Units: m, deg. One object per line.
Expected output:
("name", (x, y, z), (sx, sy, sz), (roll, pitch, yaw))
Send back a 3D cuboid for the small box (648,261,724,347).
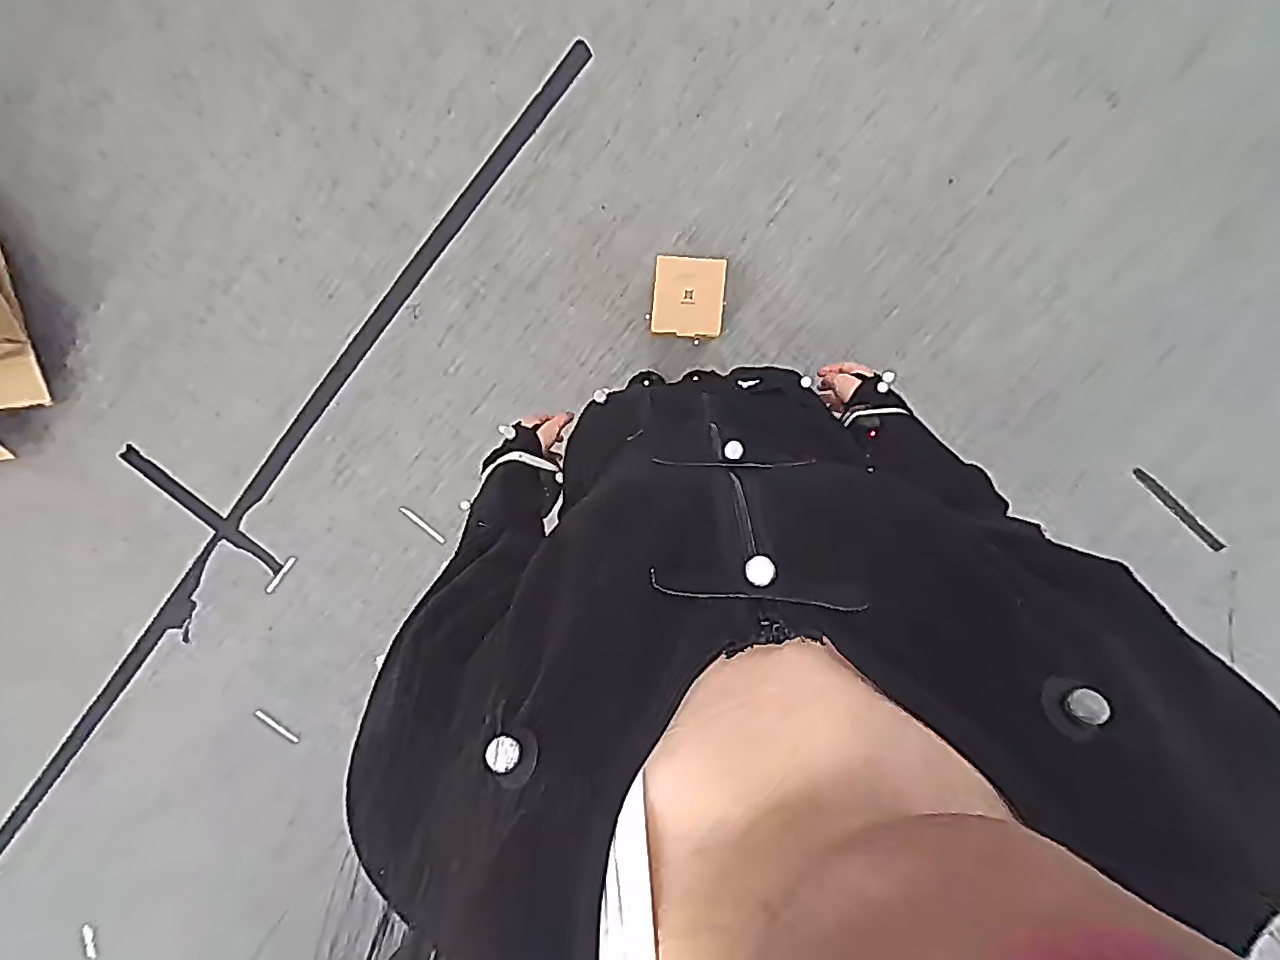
("small box", (0.108, -0.429, 1.345), (0.168, 0.176, 0.179), (3, 99, -2))
